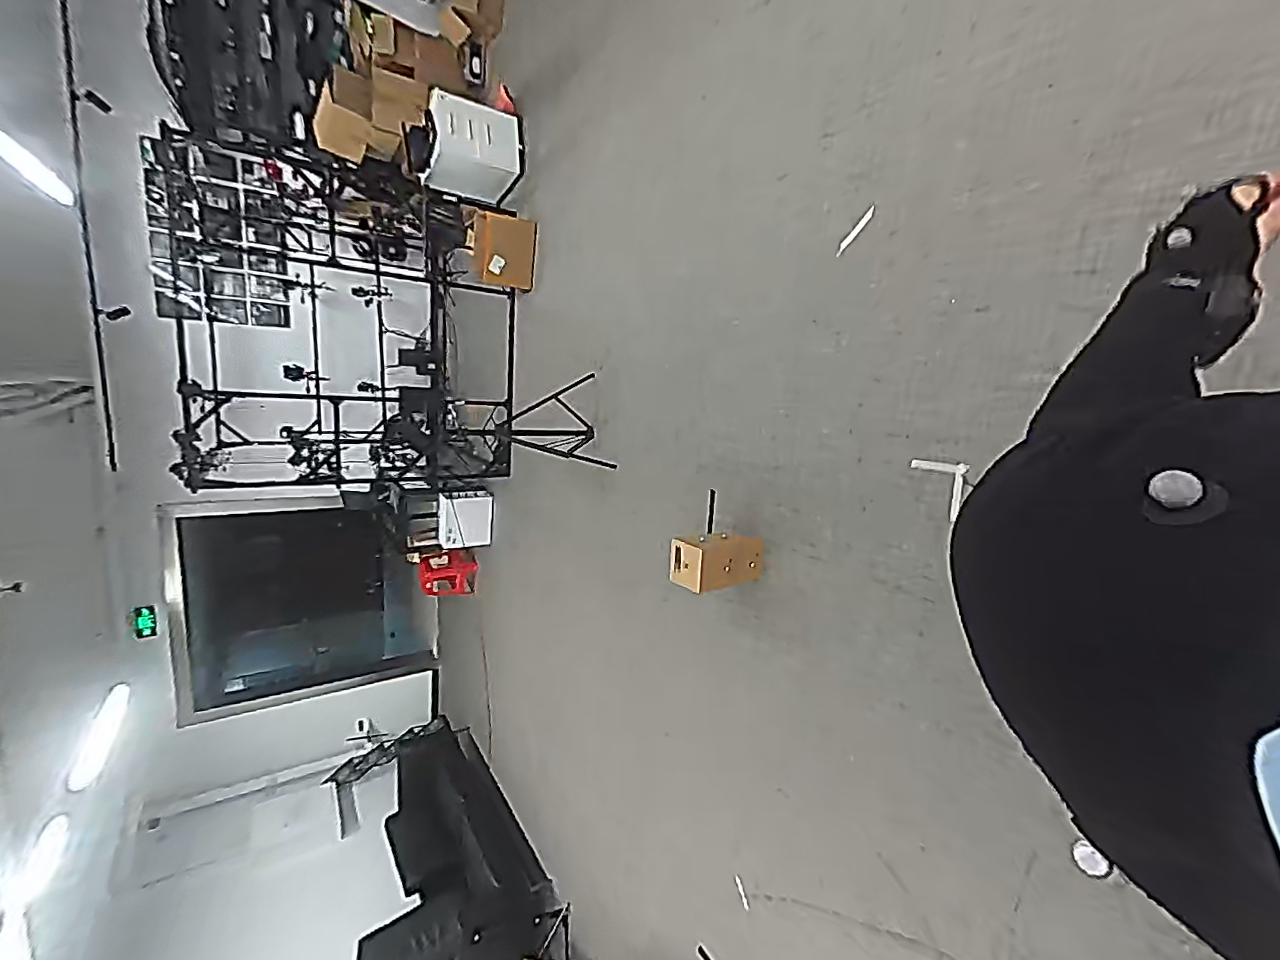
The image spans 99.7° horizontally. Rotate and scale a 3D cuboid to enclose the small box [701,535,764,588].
[{"bbox_3d":[0.361,0.312,2.118,0.179,0.176,0.168,10,101,56],"label":"small box"}]
